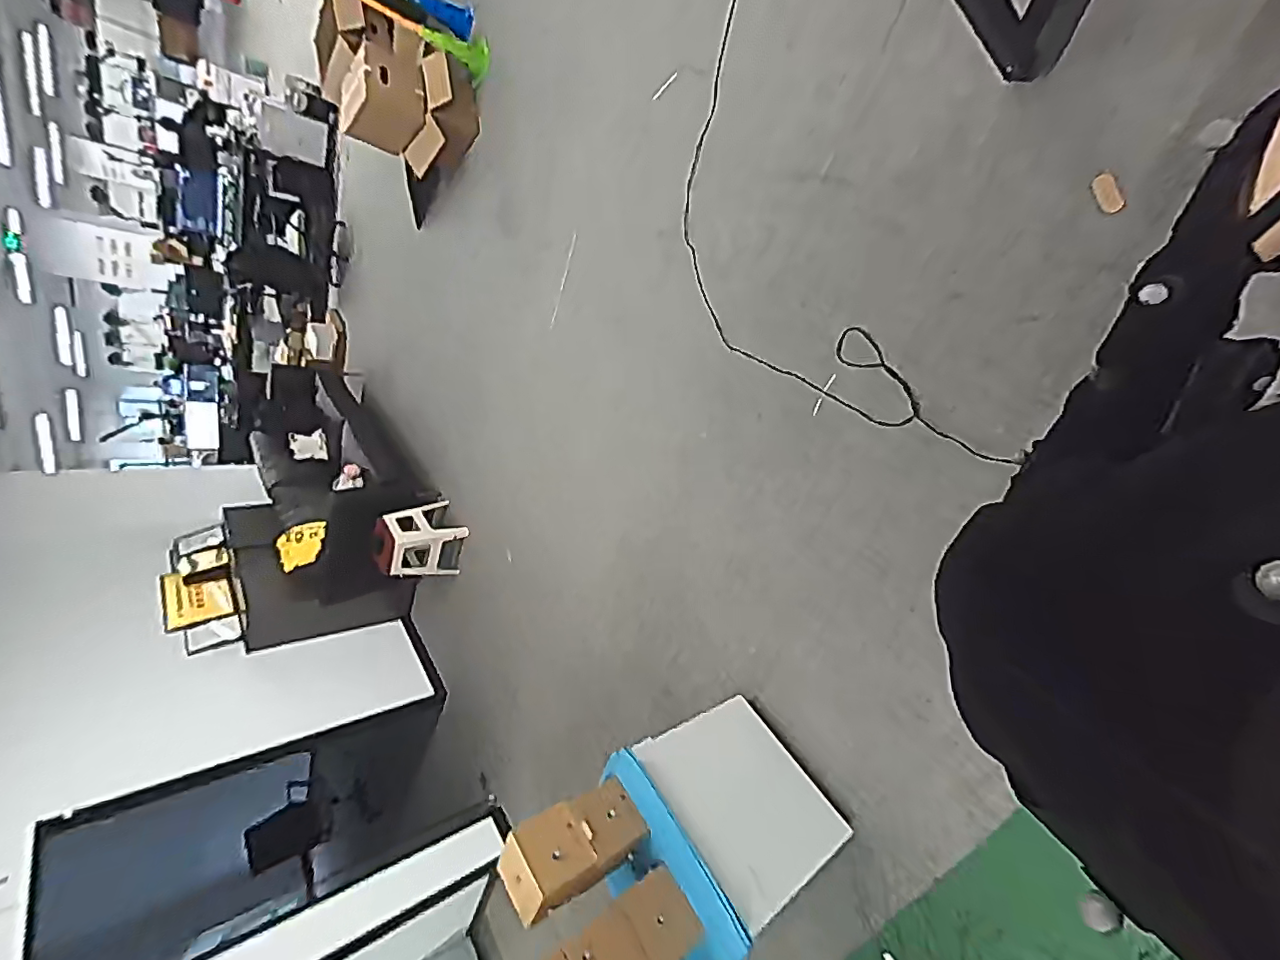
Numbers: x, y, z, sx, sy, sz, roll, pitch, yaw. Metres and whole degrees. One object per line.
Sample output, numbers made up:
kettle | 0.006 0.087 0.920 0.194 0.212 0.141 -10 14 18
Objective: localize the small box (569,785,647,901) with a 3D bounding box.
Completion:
small box | -0.105 0.968 1.457 0.168 0.176 0.179 44 123 36

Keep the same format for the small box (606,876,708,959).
small box | 0.031 1.120 1.323 0.179 0.176 0.168 43 124 36

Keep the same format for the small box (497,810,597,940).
small box | -0.230 0.976 1.352 0.168 0.176 0.179 41 124 36
